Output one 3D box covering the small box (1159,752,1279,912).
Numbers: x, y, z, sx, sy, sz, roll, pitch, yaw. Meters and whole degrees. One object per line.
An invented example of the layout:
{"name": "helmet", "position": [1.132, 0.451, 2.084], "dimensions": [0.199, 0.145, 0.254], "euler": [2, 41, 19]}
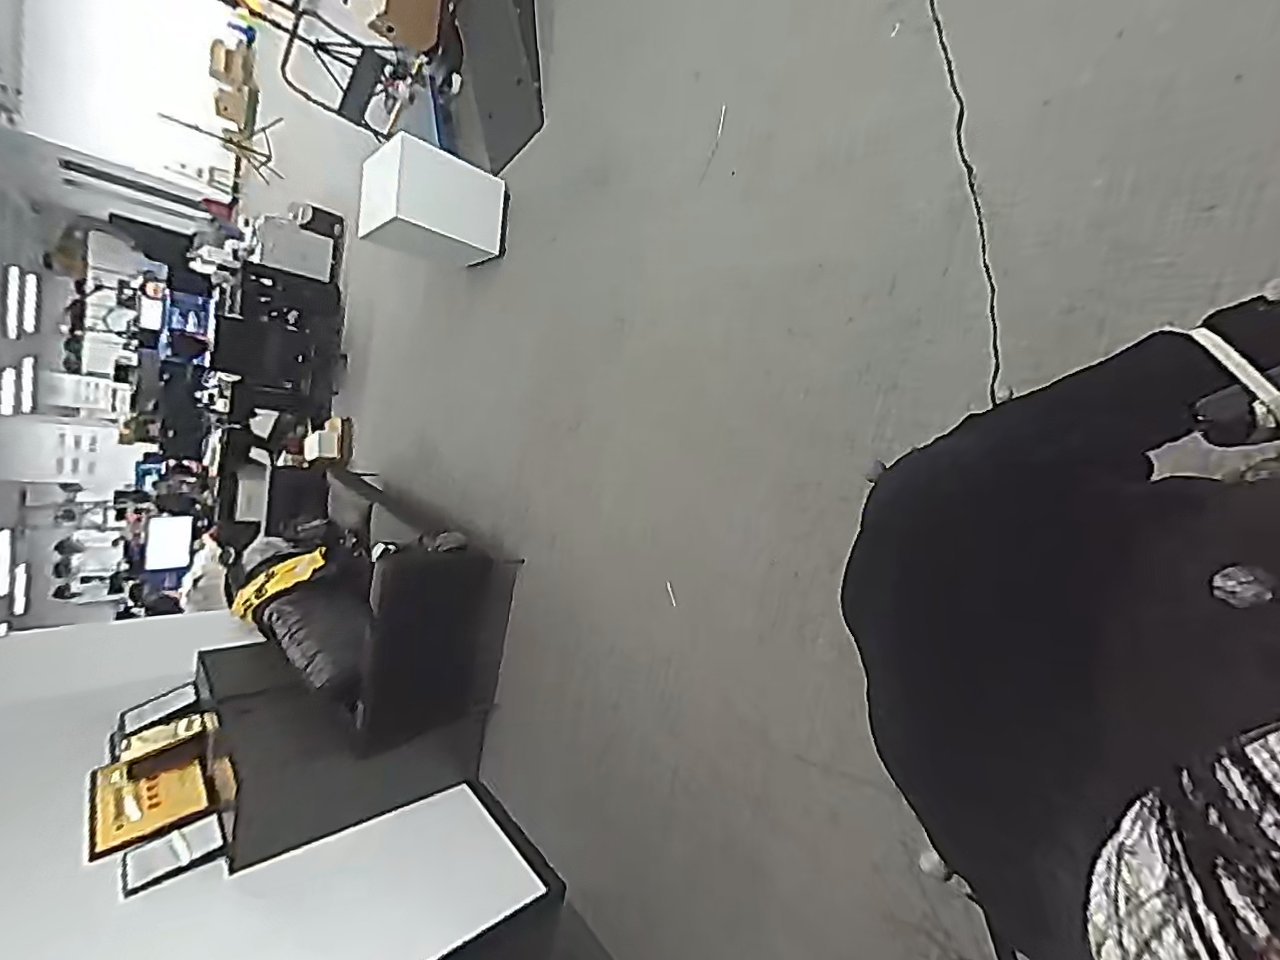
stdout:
{"name": "small box", "position": [1.085, 0.626, 0.984], "dimensions": [0.179, 0.176, 0.168], "euler": [14, 98, 43]}
